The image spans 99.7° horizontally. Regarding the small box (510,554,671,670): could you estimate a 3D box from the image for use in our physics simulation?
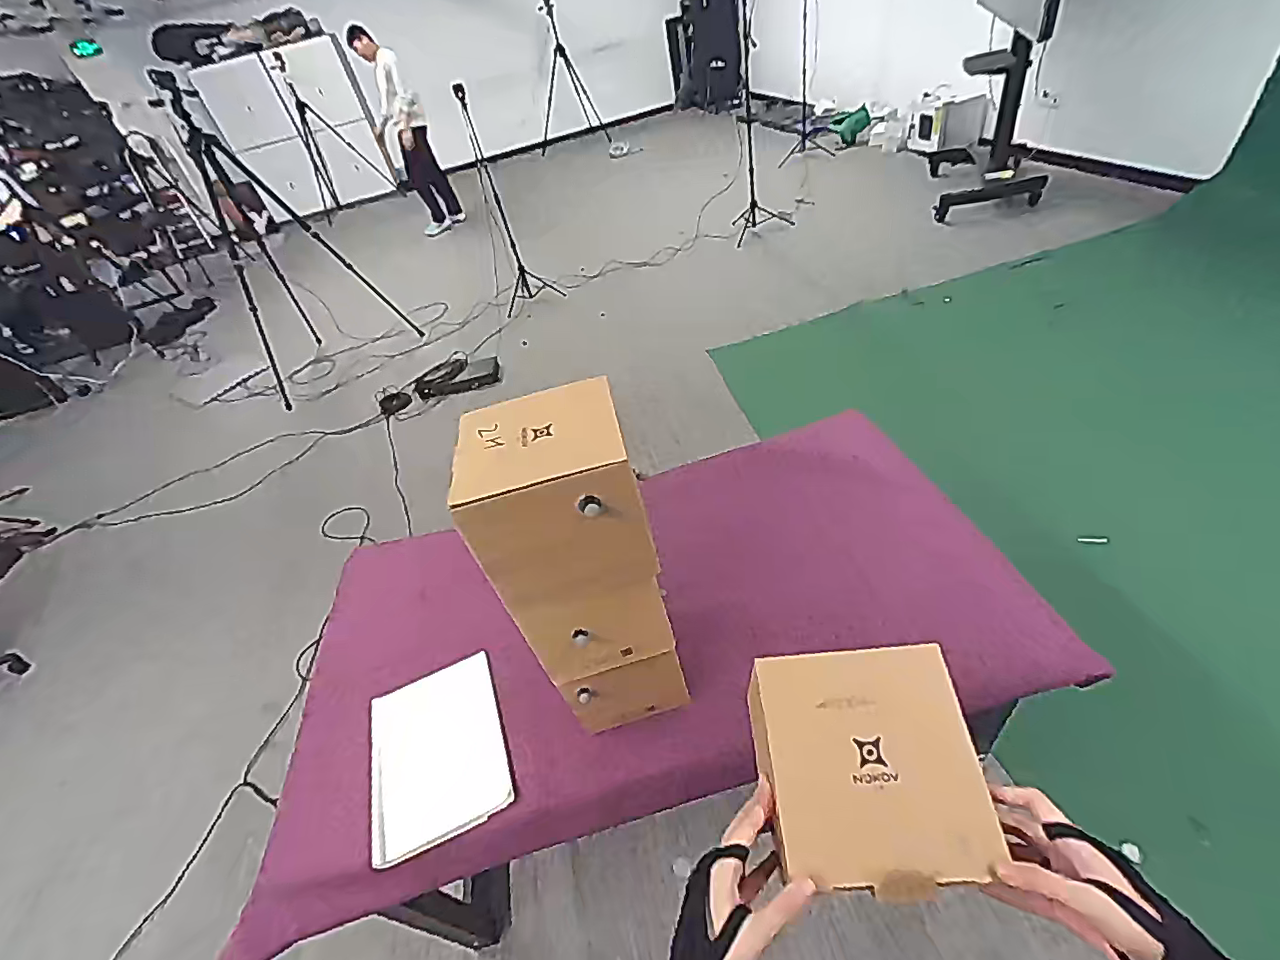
[{"bbox_3d":[-0.066,0.129,0.718,0.168,0.176,0.179,-17,40,-1],"label":"small box"}]

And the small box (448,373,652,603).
[{"bbox_3d":[-0.090,0.010,0.606,0.179,0.176,0.168,-15,40,1],"label":"small box"}]
